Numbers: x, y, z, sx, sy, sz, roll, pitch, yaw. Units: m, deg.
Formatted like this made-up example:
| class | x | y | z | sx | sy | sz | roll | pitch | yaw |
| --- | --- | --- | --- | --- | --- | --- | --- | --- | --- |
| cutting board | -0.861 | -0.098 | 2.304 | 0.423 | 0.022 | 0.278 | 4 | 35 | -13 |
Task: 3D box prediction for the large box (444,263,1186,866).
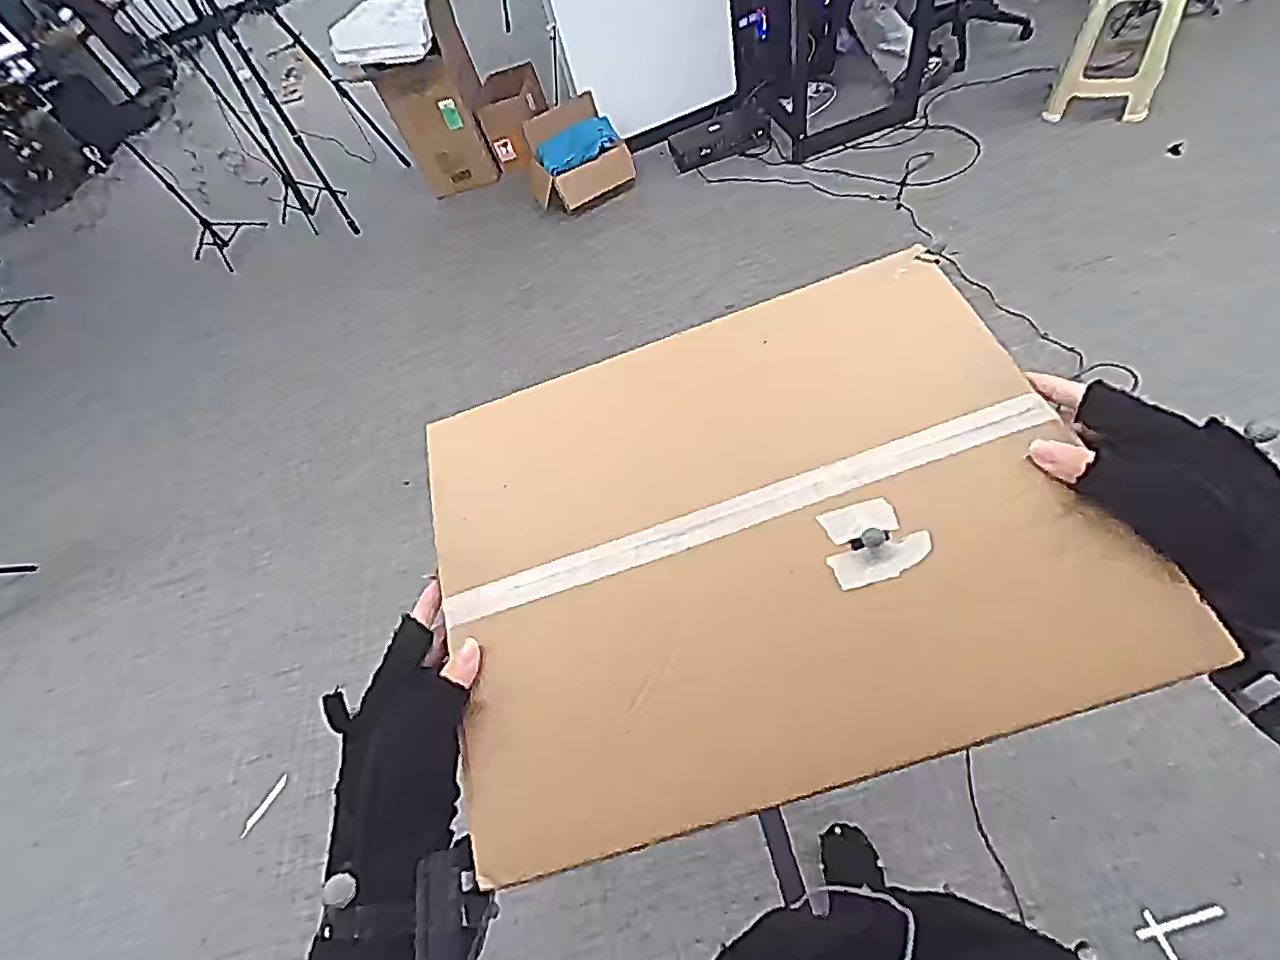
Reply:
| class | x | y | z | sx | sy | sz | roll | pitch | yaw |
| --- | --- | --- | --- | --- | --- | --- | --- | --- | --- |
| large box | 0.094 | 0.086 | 0.495 | 0.408 | 0.320 | 0.320 | -20 | 64 | 3 |
